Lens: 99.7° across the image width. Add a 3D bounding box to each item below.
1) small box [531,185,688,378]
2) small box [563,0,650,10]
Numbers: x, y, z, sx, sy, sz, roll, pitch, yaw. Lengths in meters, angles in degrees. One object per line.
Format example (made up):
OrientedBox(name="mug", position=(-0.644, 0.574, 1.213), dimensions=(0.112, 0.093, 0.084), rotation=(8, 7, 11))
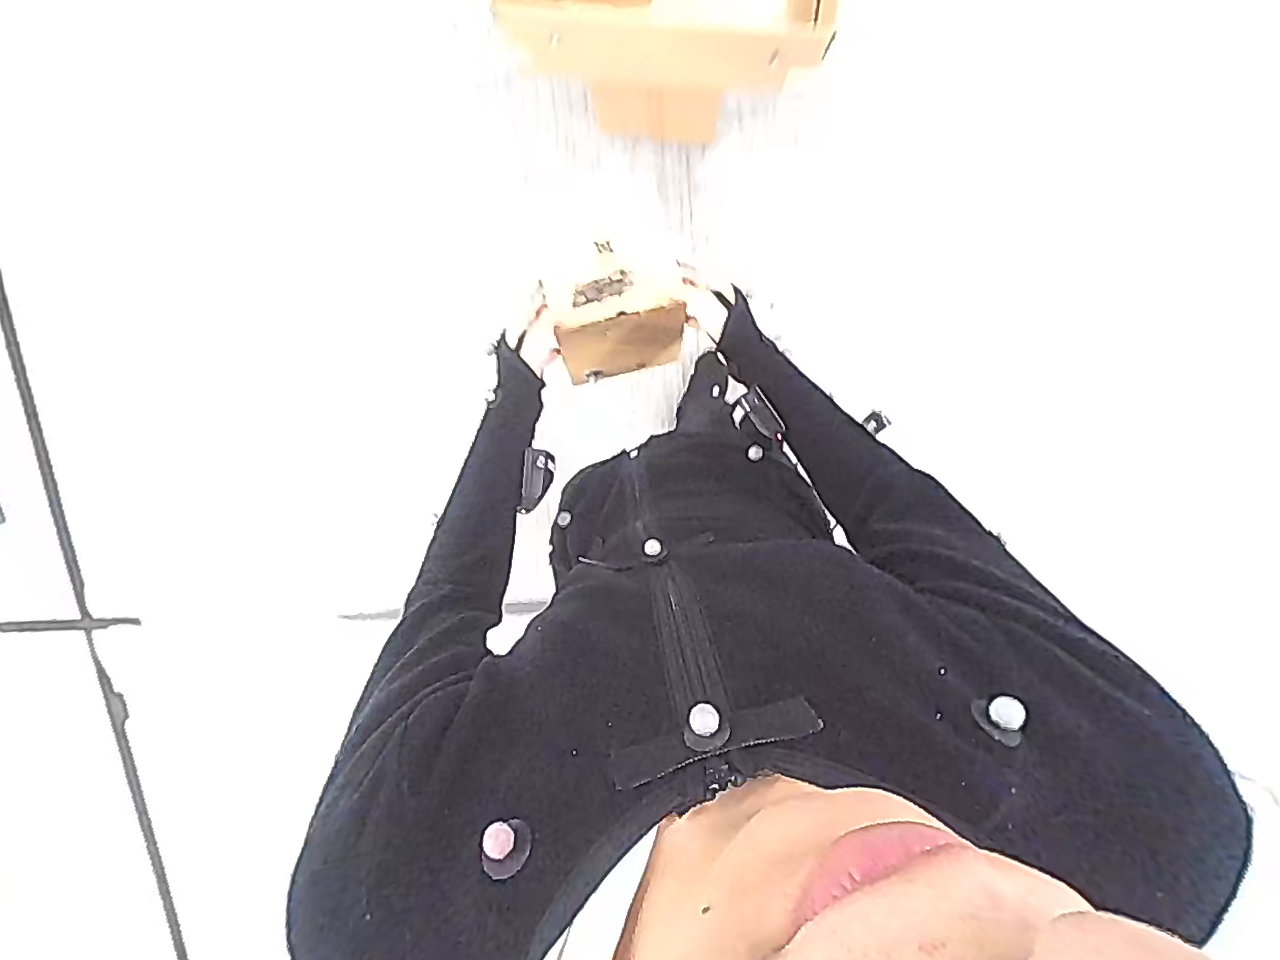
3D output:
OrientedBox(name="small box", position=(-0.037, -0.254, 0.735), dimensions=(0.168, 0.176, 0.179), rotation=(-14, 76, -3))
OrientedBox(name="small box", position=(-0.067, -0.987, 0.965), dimensions=(0.179, 0.176, 0.168), rotation=(2, 100, 0))
